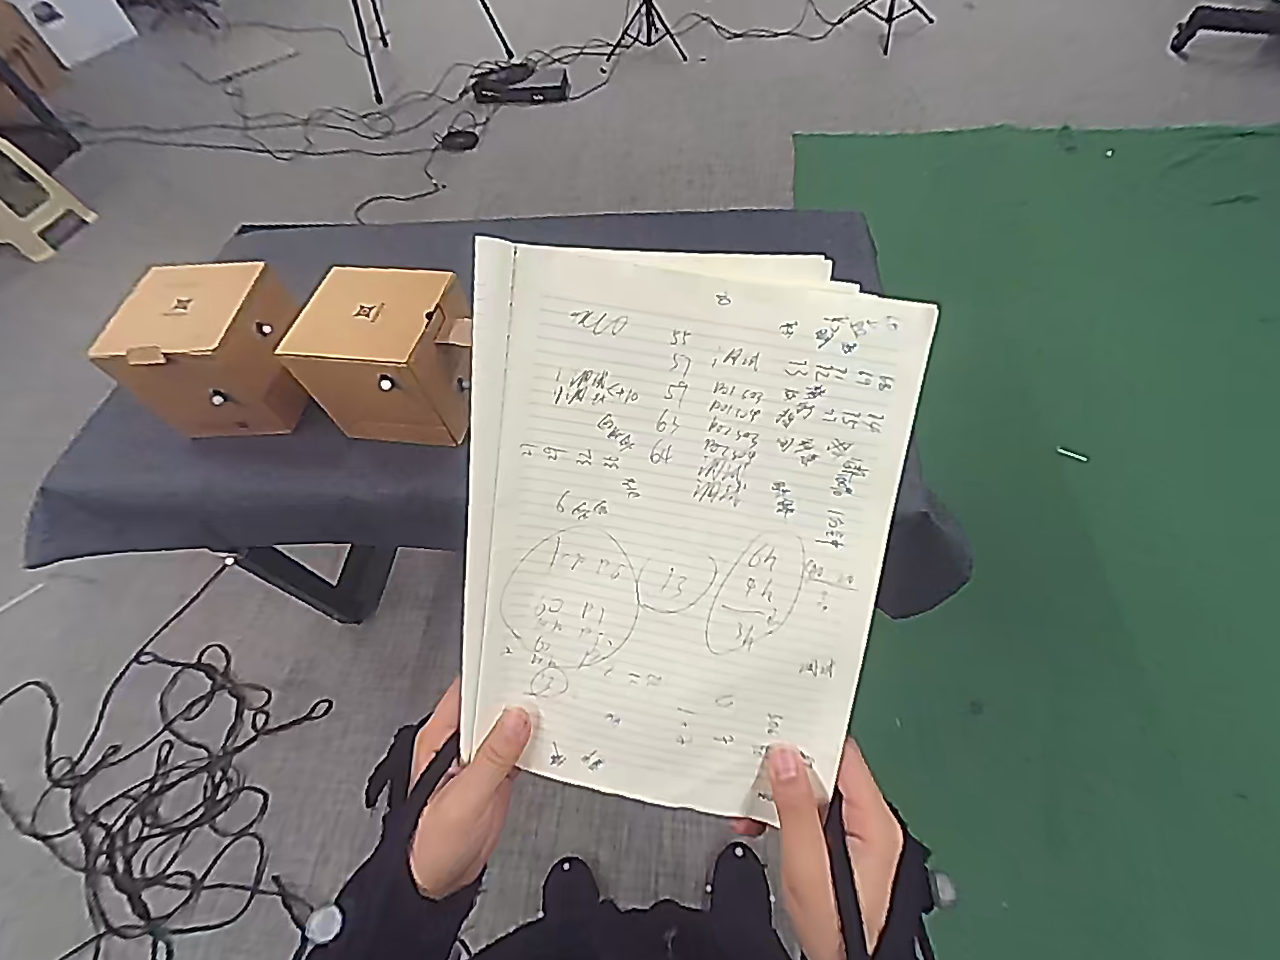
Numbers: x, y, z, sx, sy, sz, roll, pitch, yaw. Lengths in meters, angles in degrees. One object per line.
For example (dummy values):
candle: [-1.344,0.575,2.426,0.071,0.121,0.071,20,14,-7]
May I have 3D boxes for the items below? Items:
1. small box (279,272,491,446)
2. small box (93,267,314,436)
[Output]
small box: [-0.330,-0.161,0.742,0.179,0.176,0.168,5,58,8]
small box: [-0.588,-0.175,0.772,0.168,0.176,0.179,-2,56,2]
